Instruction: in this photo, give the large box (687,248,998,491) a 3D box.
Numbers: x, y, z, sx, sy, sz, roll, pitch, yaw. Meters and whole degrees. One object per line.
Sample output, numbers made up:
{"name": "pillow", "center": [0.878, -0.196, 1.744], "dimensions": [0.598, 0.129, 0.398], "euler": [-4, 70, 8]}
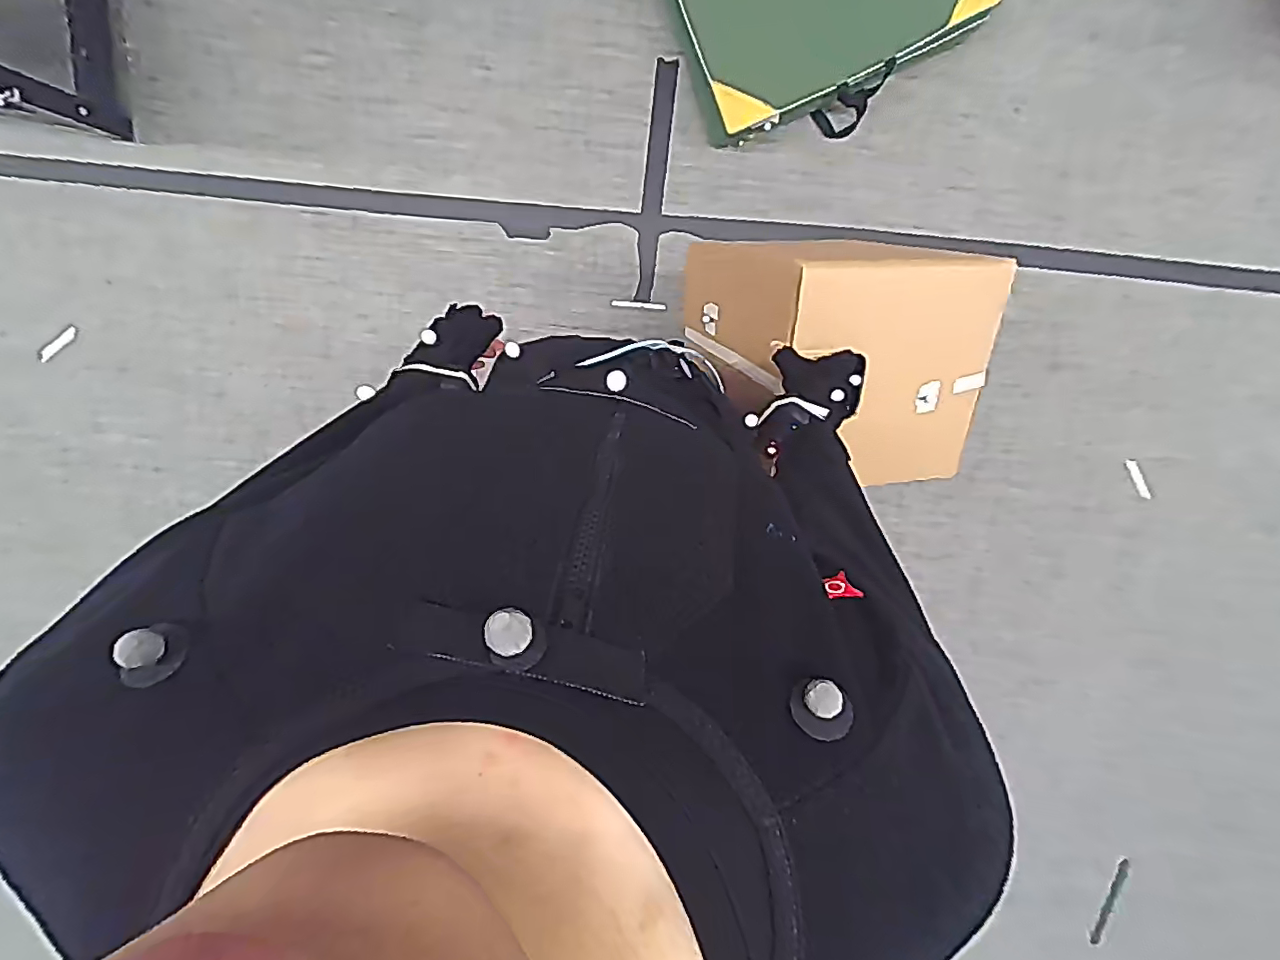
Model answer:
{"name": "large box", "center": [0.291, -0.215, 0.919], "dimensions": [0.320, 0.408, 0.320], "euler": [-5, 118, -12]}
